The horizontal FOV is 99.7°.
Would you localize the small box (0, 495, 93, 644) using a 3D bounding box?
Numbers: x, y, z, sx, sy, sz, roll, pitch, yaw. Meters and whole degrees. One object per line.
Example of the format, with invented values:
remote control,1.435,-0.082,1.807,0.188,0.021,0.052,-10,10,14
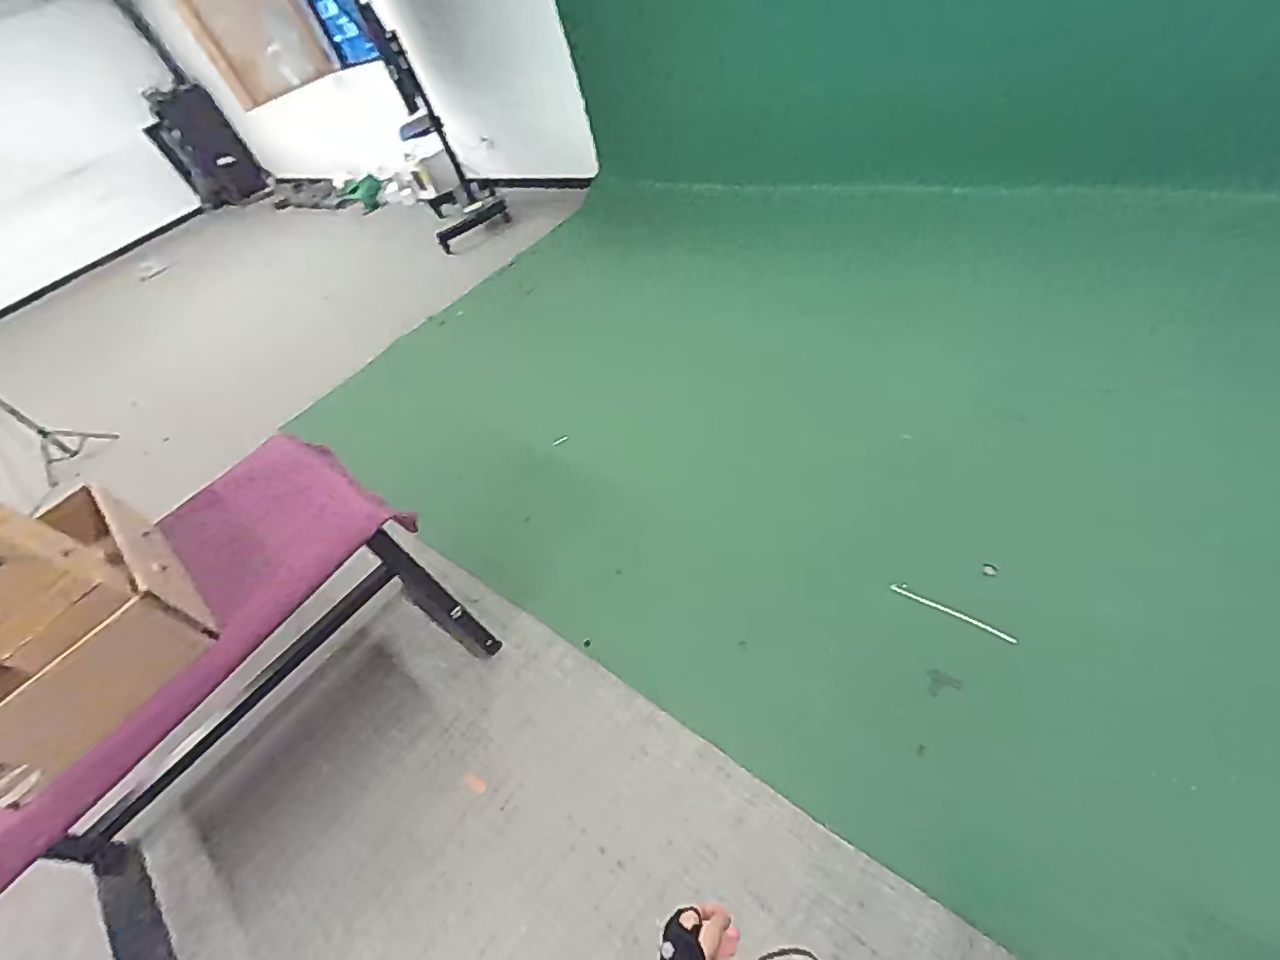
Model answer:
small box,-1.107,0.157,0.922,0.168,0.176,0.179,24,60,36
